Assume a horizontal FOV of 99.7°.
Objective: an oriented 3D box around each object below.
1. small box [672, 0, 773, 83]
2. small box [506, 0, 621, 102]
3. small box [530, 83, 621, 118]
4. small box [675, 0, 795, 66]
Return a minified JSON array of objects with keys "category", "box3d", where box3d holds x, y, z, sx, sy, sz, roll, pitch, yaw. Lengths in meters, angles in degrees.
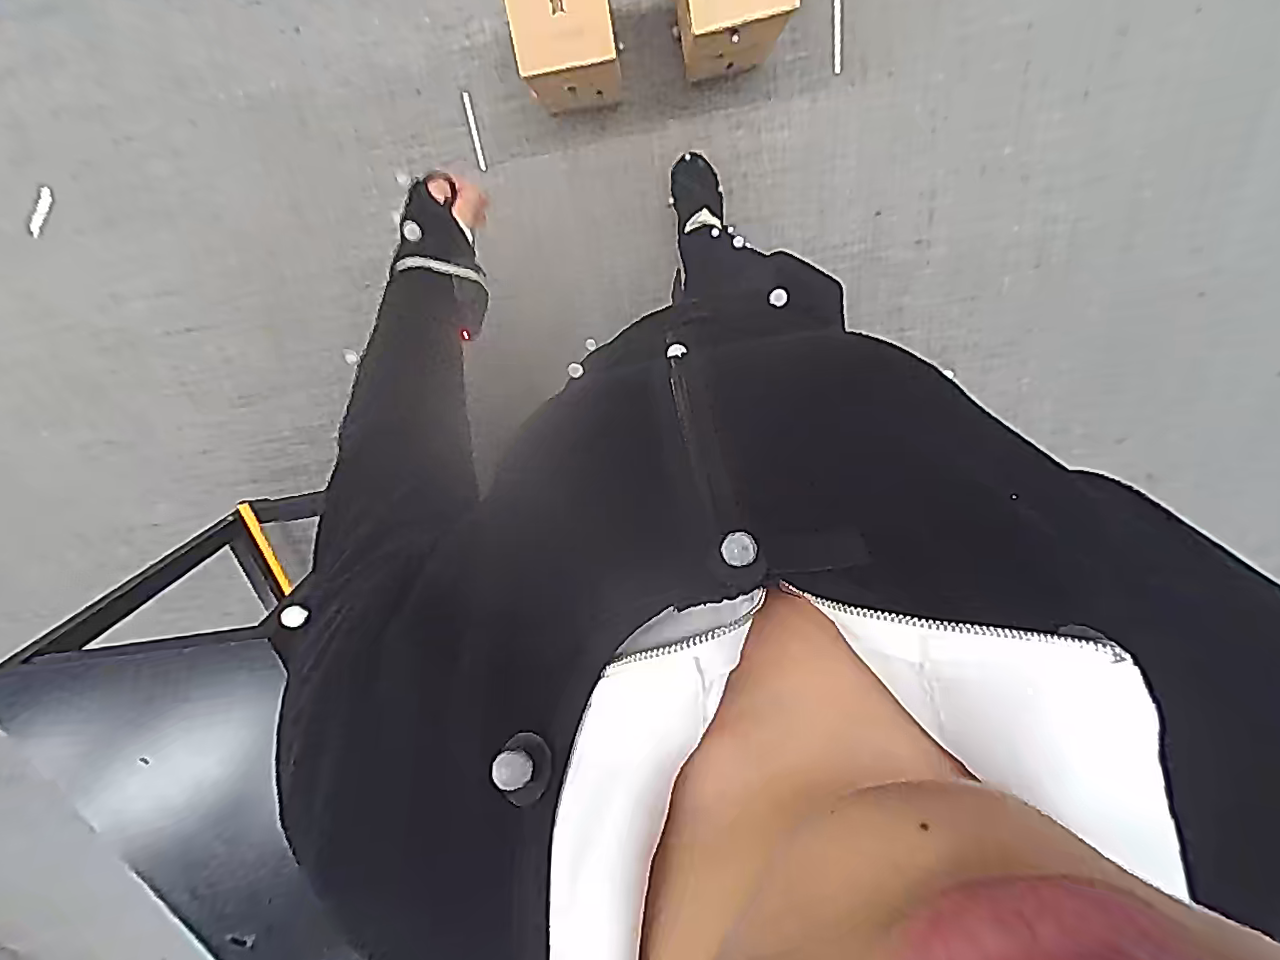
[{"category":"small box","box3d":[0.158,-0.910,1.063,0.168,0.176,0.179,-11,115,6]},{"category":"small box","box3d":[-0.130,-0.791,0.941,0.168,0.176,0.179,-8,115,6]},{"category":"small box","box3d":[-0.134,-0.854,1.091,0.179,0.176,0.168,-7,114,5]},{"category":"small box","box3d":[0.150,-0.836,0.914,0.179,0.176,0.168,-11,114,5]}]
